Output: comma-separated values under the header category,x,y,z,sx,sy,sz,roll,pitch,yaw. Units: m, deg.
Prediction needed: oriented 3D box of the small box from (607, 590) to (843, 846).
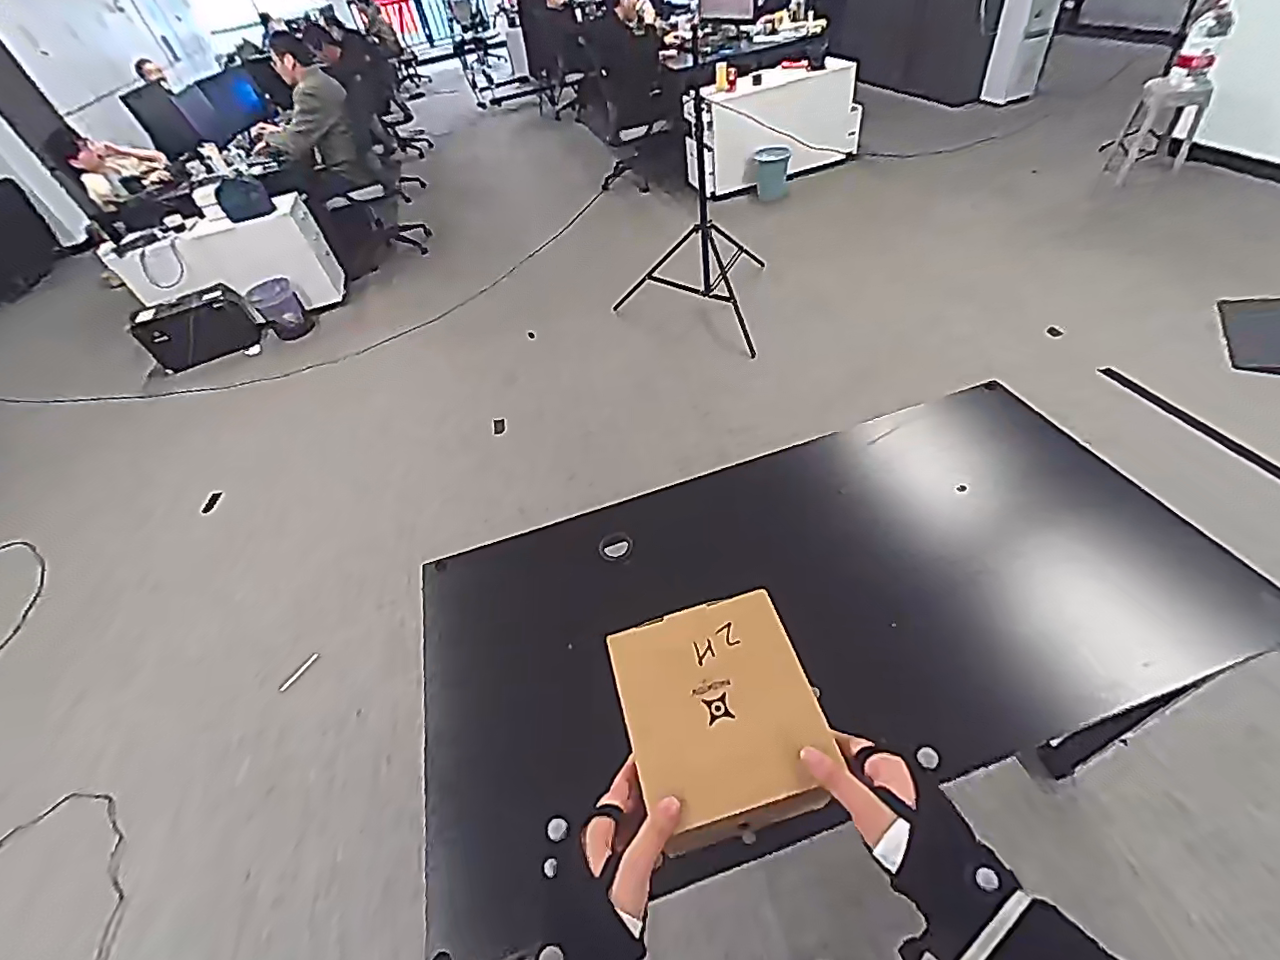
category,x,y,z,sx,sy,sz,roll,pitch,yaw
small box,0.078,0.243,0.540,0.168,0.176,0.179,-17,50,-3
